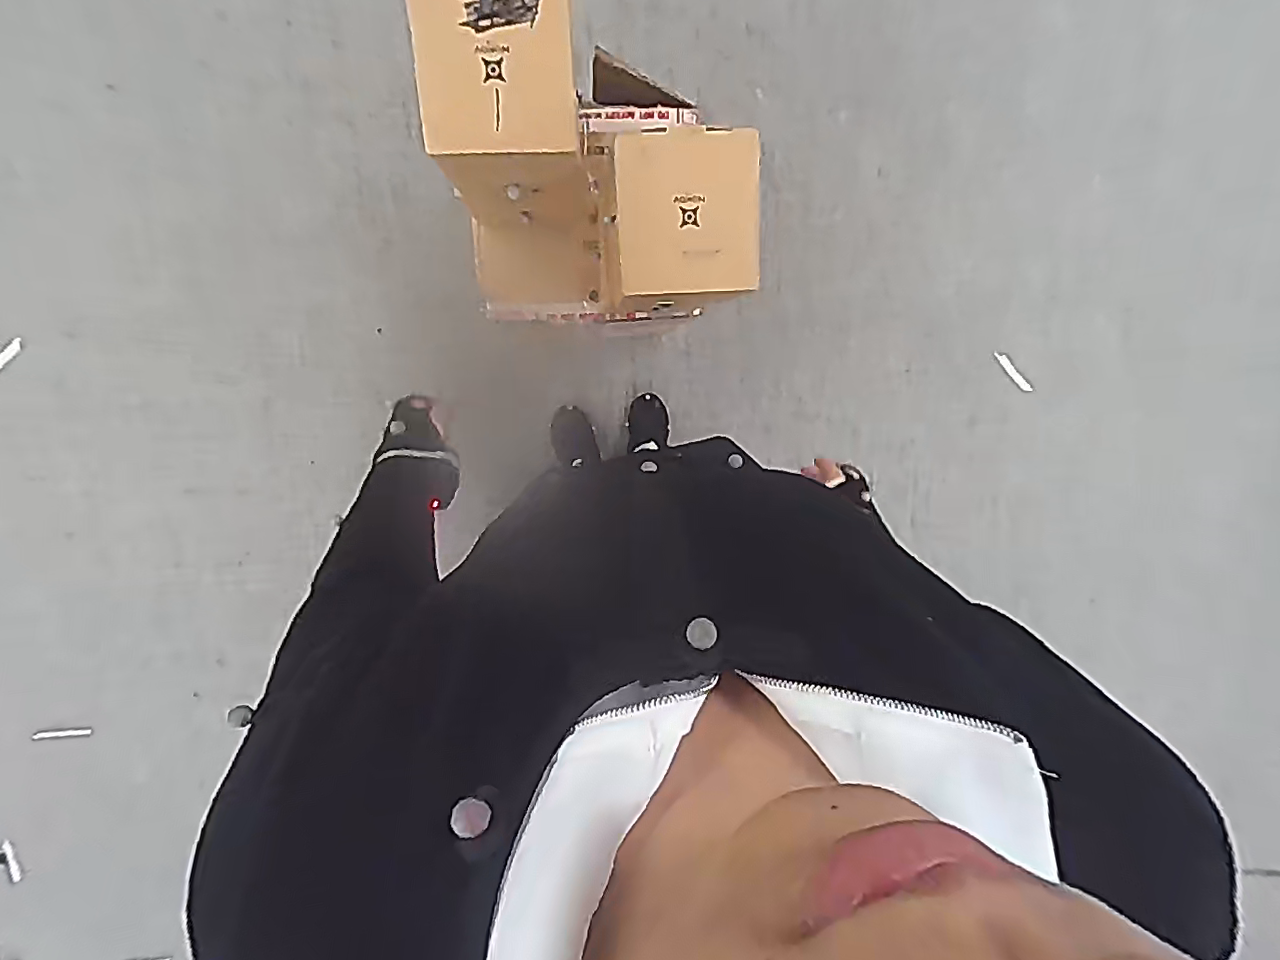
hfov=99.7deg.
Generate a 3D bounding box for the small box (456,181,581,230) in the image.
[{"bbox_3d":[-0.180,-0.490,0.804,0.168,0.176,0.179,-6,104,-2],"label":"small box"}]

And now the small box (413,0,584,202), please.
[{"bbox_3d":[-0.154,-0.450,0.646,0.168,0.176,0.179,-3,104,-3],"label":"small box"}]

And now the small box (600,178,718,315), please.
[{"bbox_3d":[0.024,-0.355,0.852,0.168,0.176,0.179,-4,103,-5],"label":"small box"}]
